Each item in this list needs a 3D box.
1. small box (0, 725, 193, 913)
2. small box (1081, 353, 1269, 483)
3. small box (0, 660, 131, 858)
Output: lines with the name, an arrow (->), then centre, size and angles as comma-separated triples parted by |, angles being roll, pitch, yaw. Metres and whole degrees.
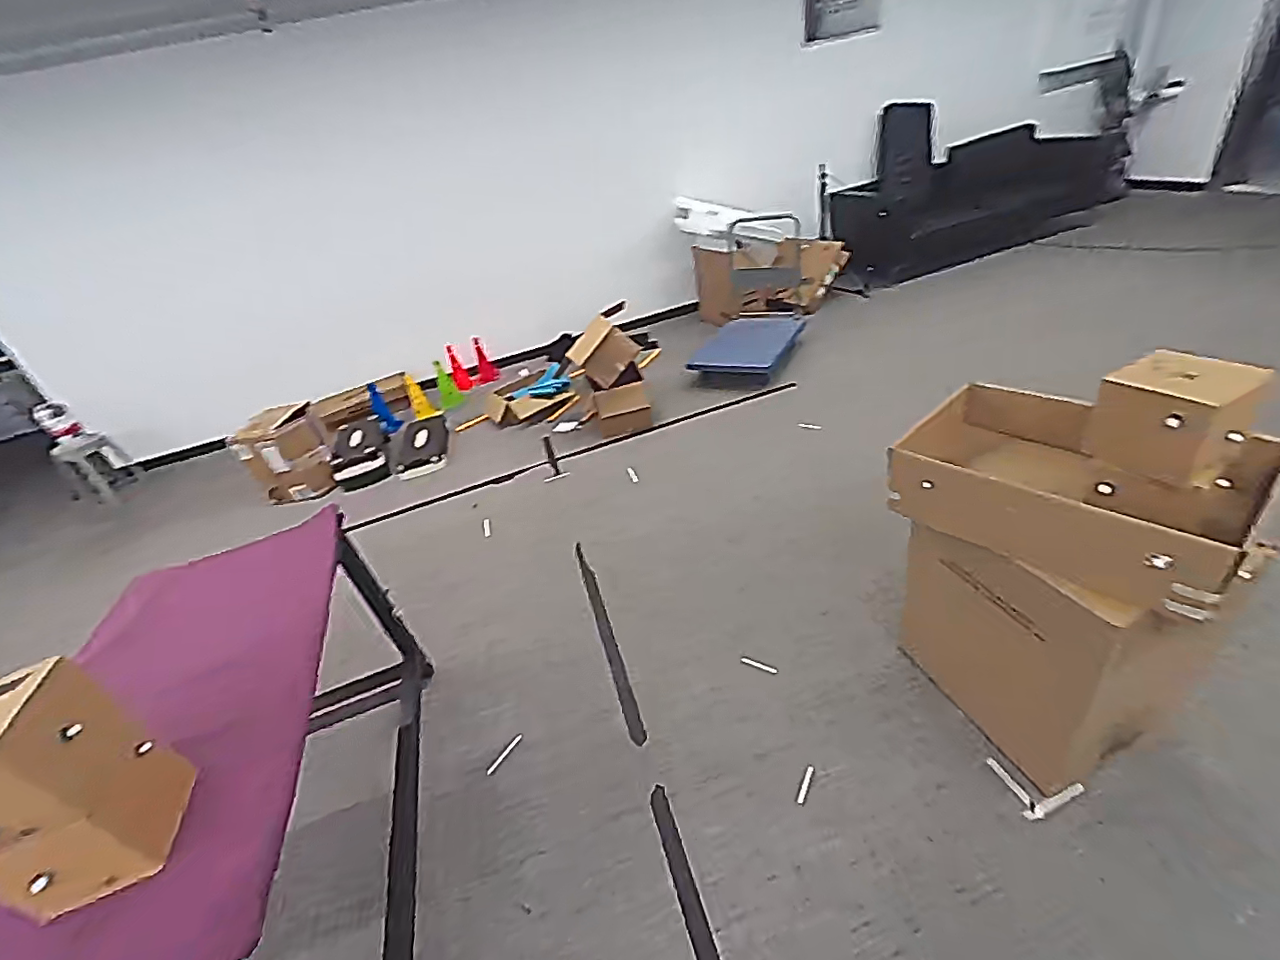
small box -> -0.861, 0.537, 0.853 | 0.168, 0.176, 0.179 | -21, 33, -12
small box -> 0.978, -0.114, 1.007 | 0.168, 0.176, 0.179 | -24, 33, -15
small box -> -0.889, 0.400, 0.766 | 0.168, 0.176, 0.179 | -21, 34, -11
